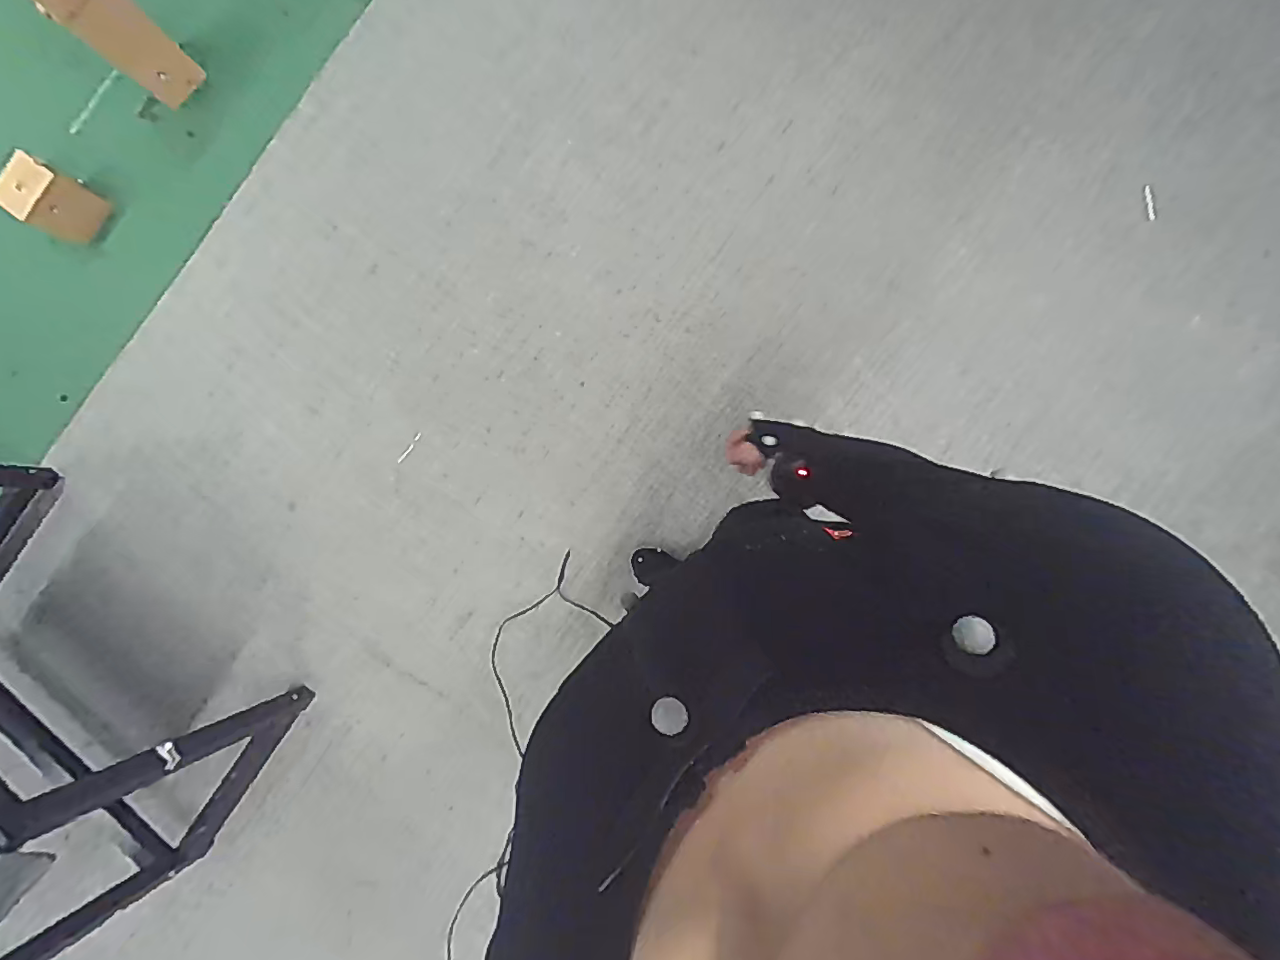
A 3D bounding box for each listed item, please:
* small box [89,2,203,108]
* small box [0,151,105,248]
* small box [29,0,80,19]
[{"bbox_3d":[-1.548,-1.329,1.708,0.179,0.176,0.168,43,90,8],"label":"small box"},{"bbox_3d":[-1.859,-0.872,1.699,0.168,0.176,0.179,34,89,7],"label":"small box"},{"bbox_3d":[-1.576,-1.346,1.381,0.179,0.176,0.168,39,89,8],"label":"small box"}]
